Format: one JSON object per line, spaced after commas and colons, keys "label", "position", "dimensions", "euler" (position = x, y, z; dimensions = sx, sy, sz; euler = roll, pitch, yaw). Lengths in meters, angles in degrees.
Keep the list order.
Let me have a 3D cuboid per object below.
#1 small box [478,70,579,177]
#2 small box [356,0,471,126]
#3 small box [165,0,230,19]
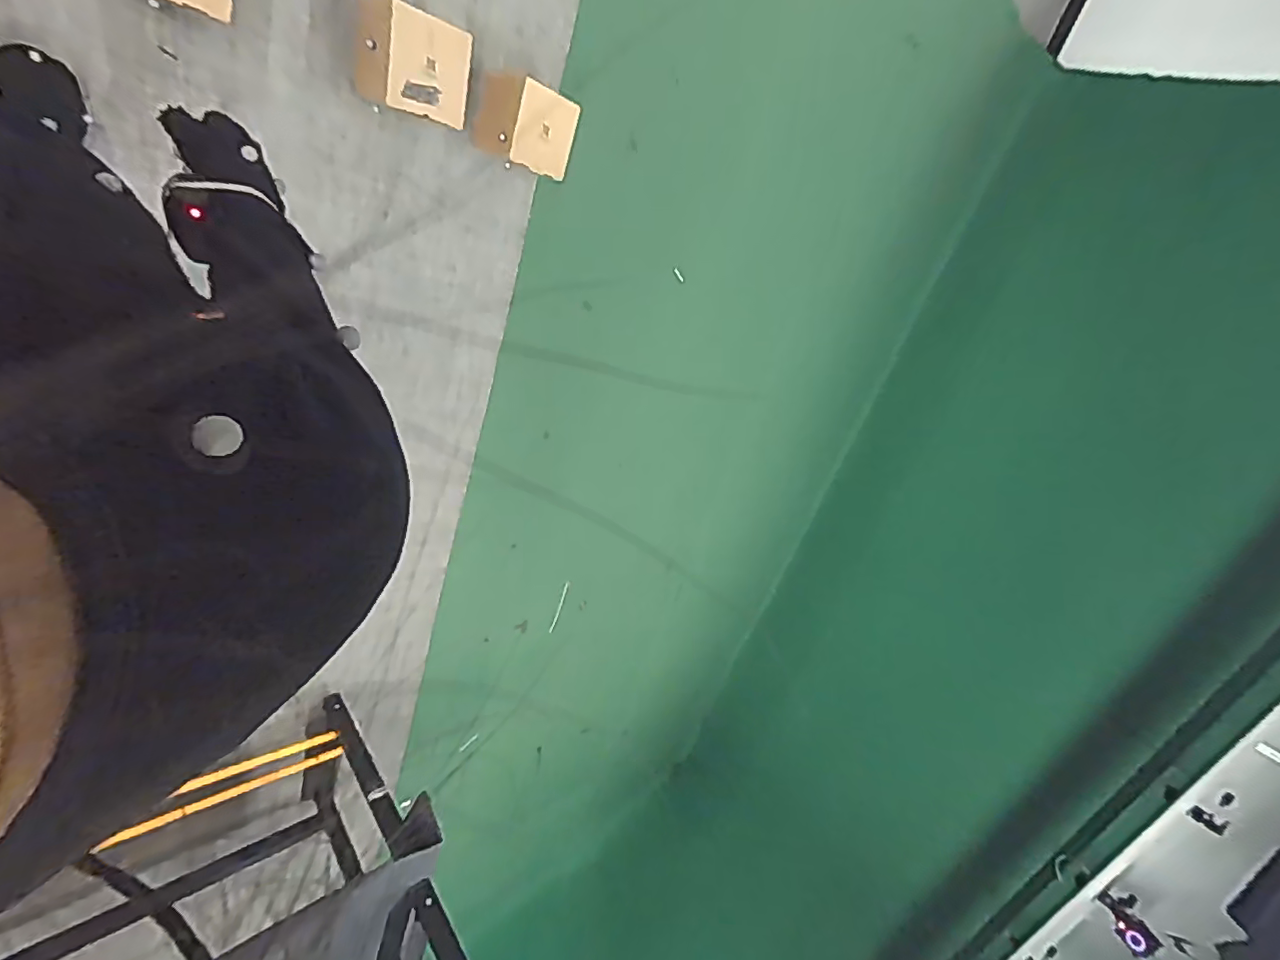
{"label": "small box", "position": [-0.284, -0.891, 1.351], "dimensions": [0.168, 0.176, 0.179], "euler": [-5, 123, -47]}
{"label": "small box", "position": [-0.478, -0.876, 1.133], "dimensions": [0.168, 0.176, 0.179], "euler": [-11, 126, -45]}
{"label": "small box", "position": [-0.745, -0.858, 0.832], "dimensions": [0.168, 0.176, 0.179], "euler": [-3, 122, -47]}
